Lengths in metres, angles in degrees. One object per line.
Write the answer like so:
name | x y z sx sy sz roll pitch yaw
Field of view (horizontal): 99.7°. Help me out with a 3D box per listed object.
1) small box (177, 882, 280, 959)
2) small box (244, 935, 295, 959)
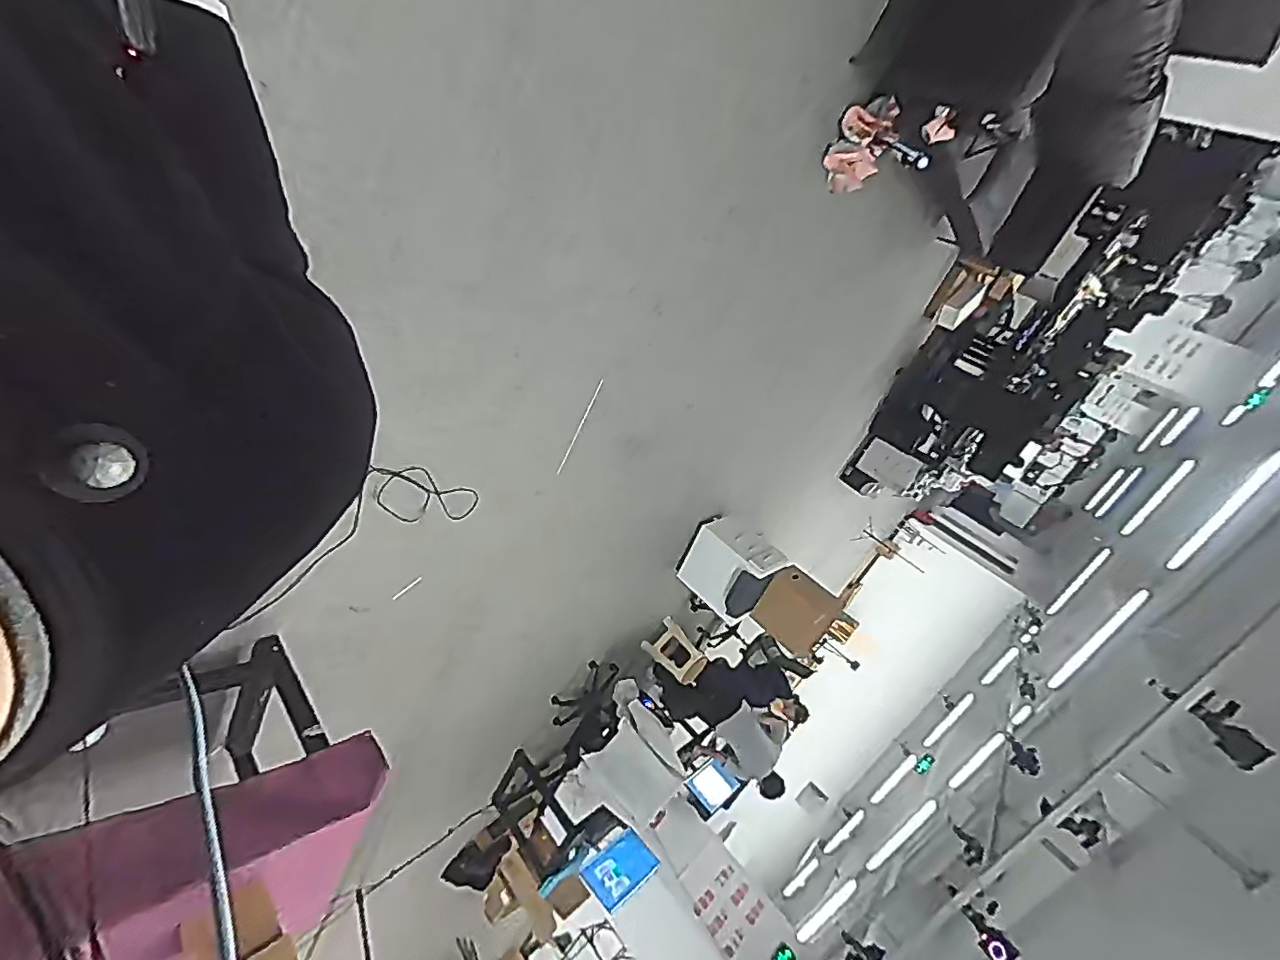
small box | -1.006 1.135 1.317 0.168 0.176 0.179 -7 130 -49
small box | -0.885 1.206 1.228 0.179 0.176 0.168 -8 130 -49
